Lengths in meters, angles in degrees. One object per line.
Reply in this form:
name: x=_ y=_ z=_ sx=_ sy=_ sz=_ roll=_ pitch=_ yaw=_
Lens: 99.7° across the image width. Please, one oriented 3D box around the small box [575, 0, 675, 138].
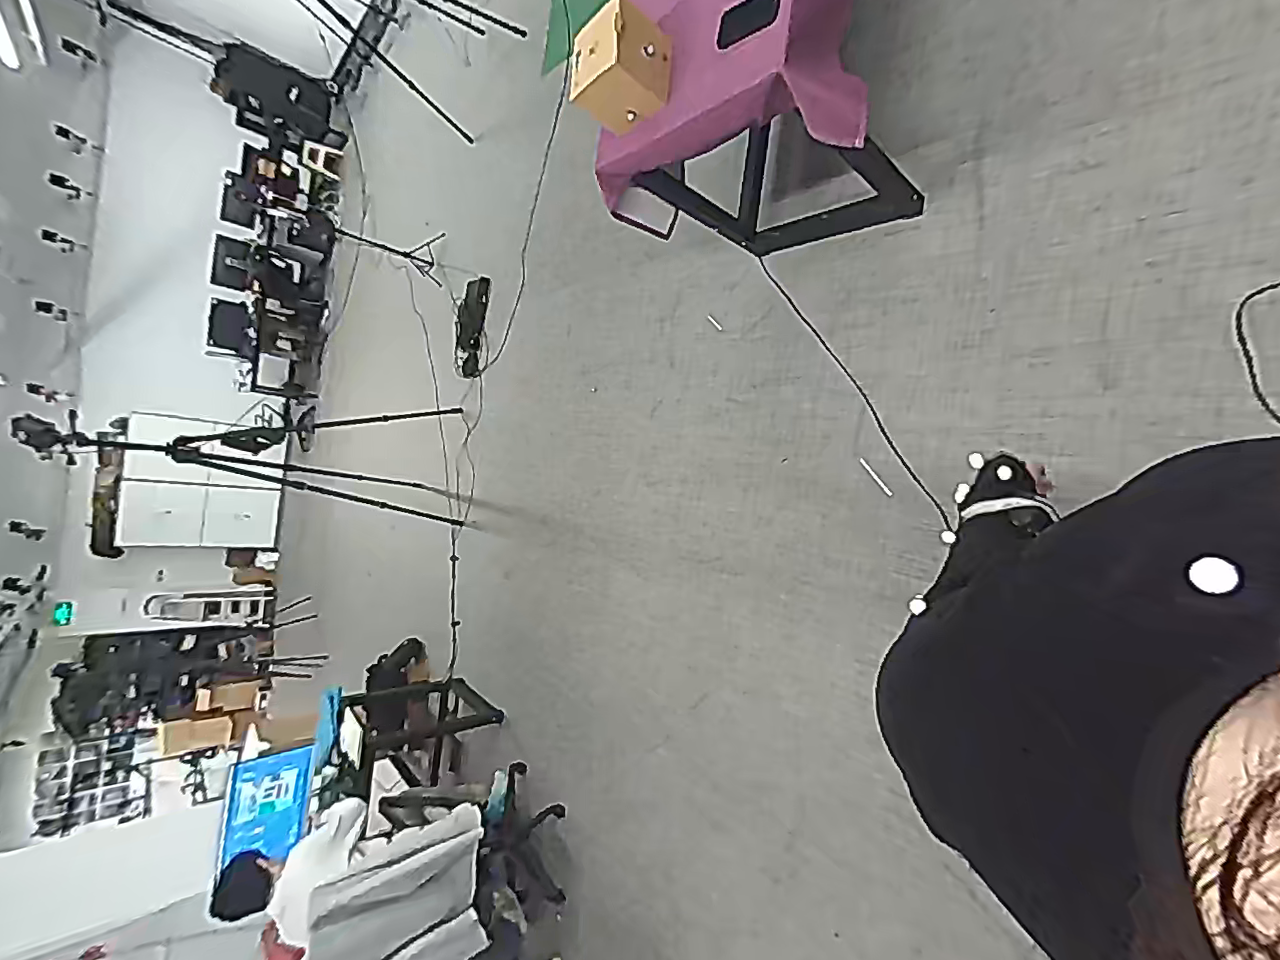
small box: x=-0.033 y=-0.977 z=1.304 sx=0.179 sy=0.176 sz=0.168 roll=1 pitch=85 yaw=47
